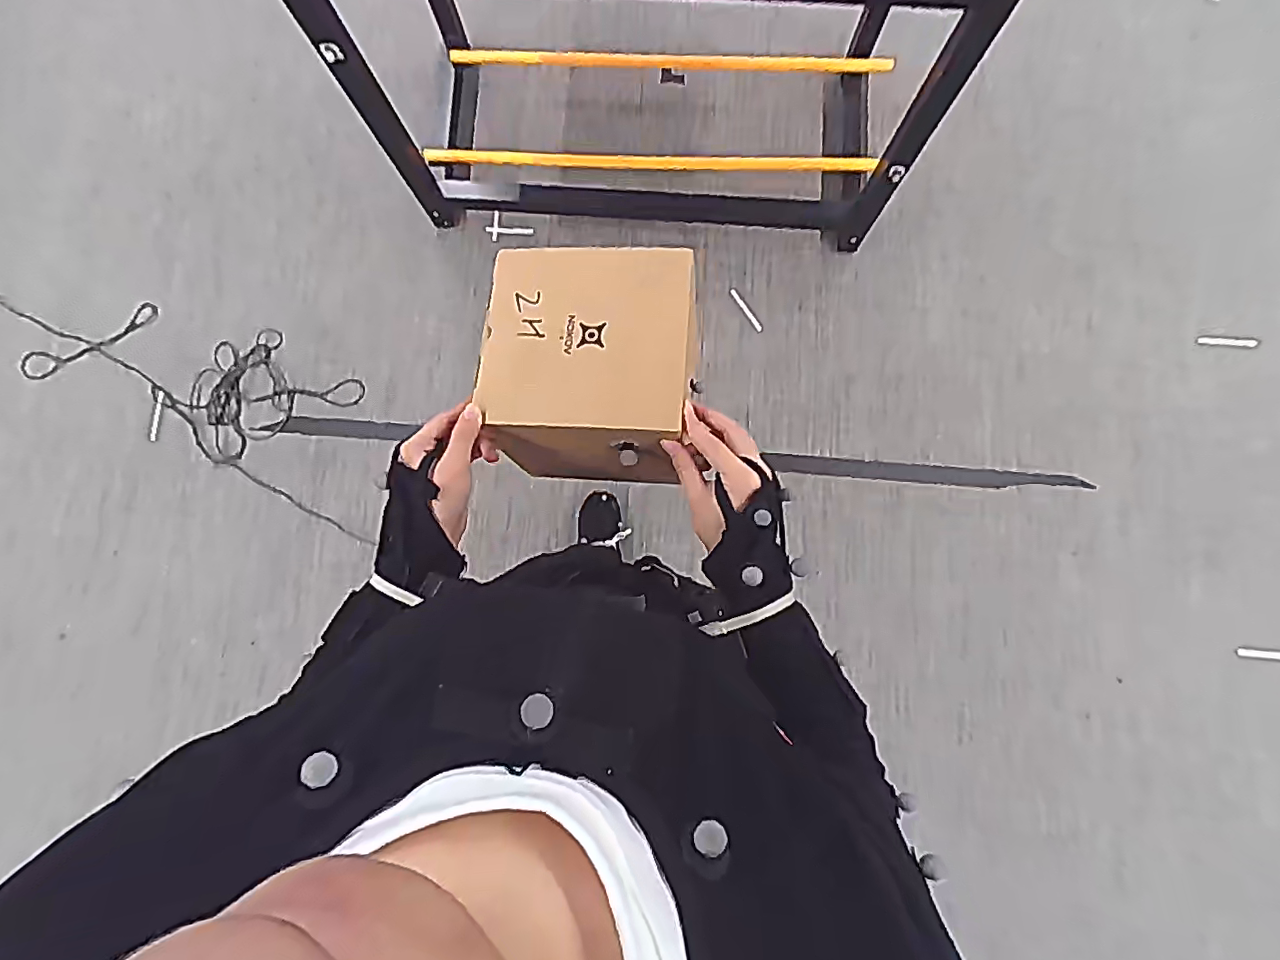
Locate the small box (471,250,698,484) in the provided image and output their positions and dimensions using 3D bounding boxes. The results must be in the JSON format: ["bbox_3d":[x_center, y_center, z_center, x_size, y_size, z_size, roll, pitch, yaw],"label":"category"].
[{"bbox_3d":[-0.036,-0.097,0.523,0.179,0.176,0.168,3,74,8],"label":"small box"}]
